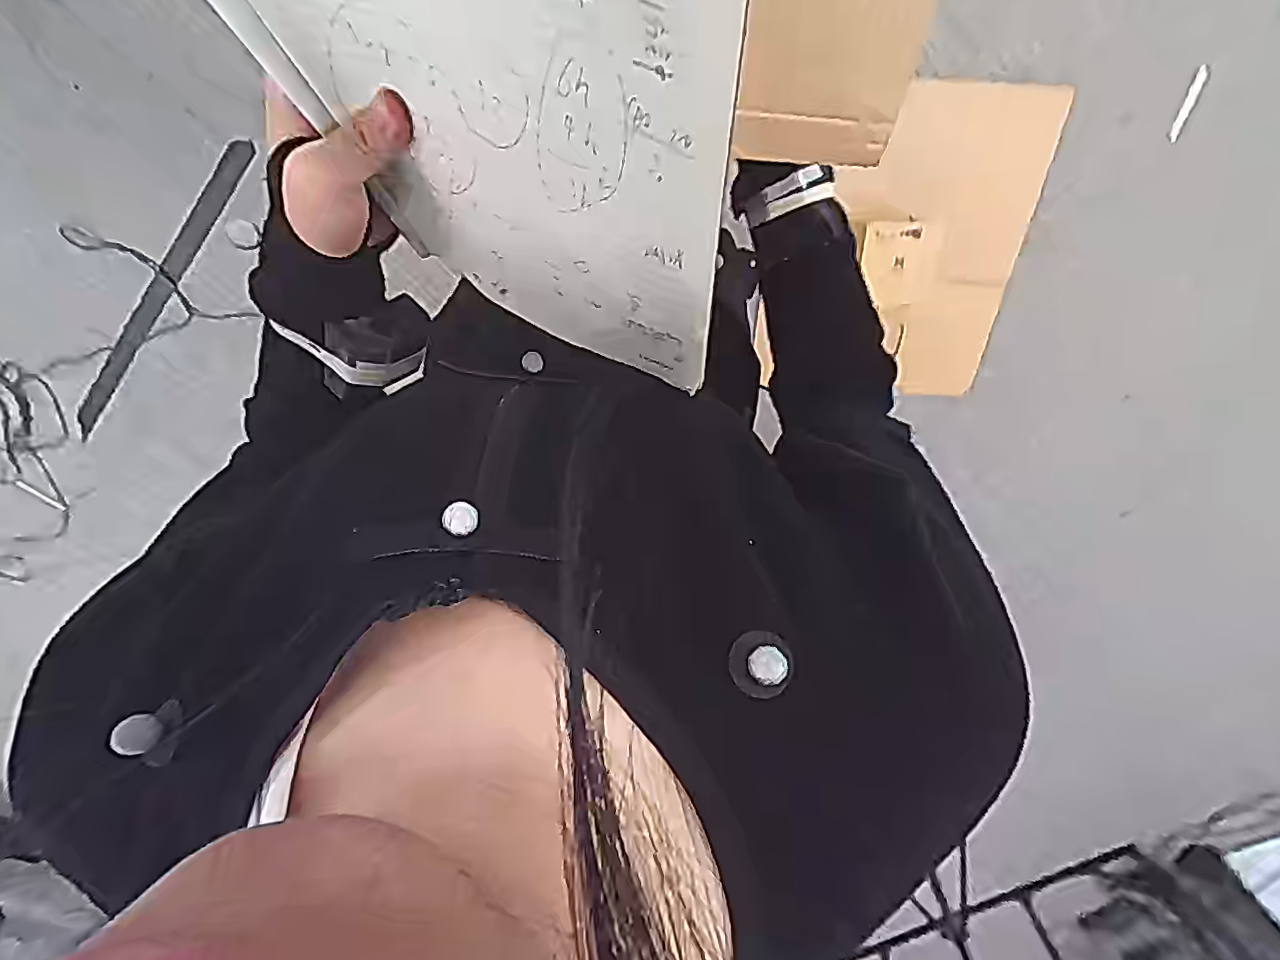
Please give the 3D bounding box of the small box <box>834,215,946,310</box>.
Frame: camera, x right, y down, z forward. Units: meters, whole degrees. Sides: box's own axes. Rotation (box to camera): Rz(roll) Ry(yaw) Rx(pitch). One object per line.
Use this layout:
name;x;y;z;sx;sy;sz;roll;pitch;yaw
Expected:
small box;0.557;-0.500;1.235;0.168;0.176;0.179;0;121;0
